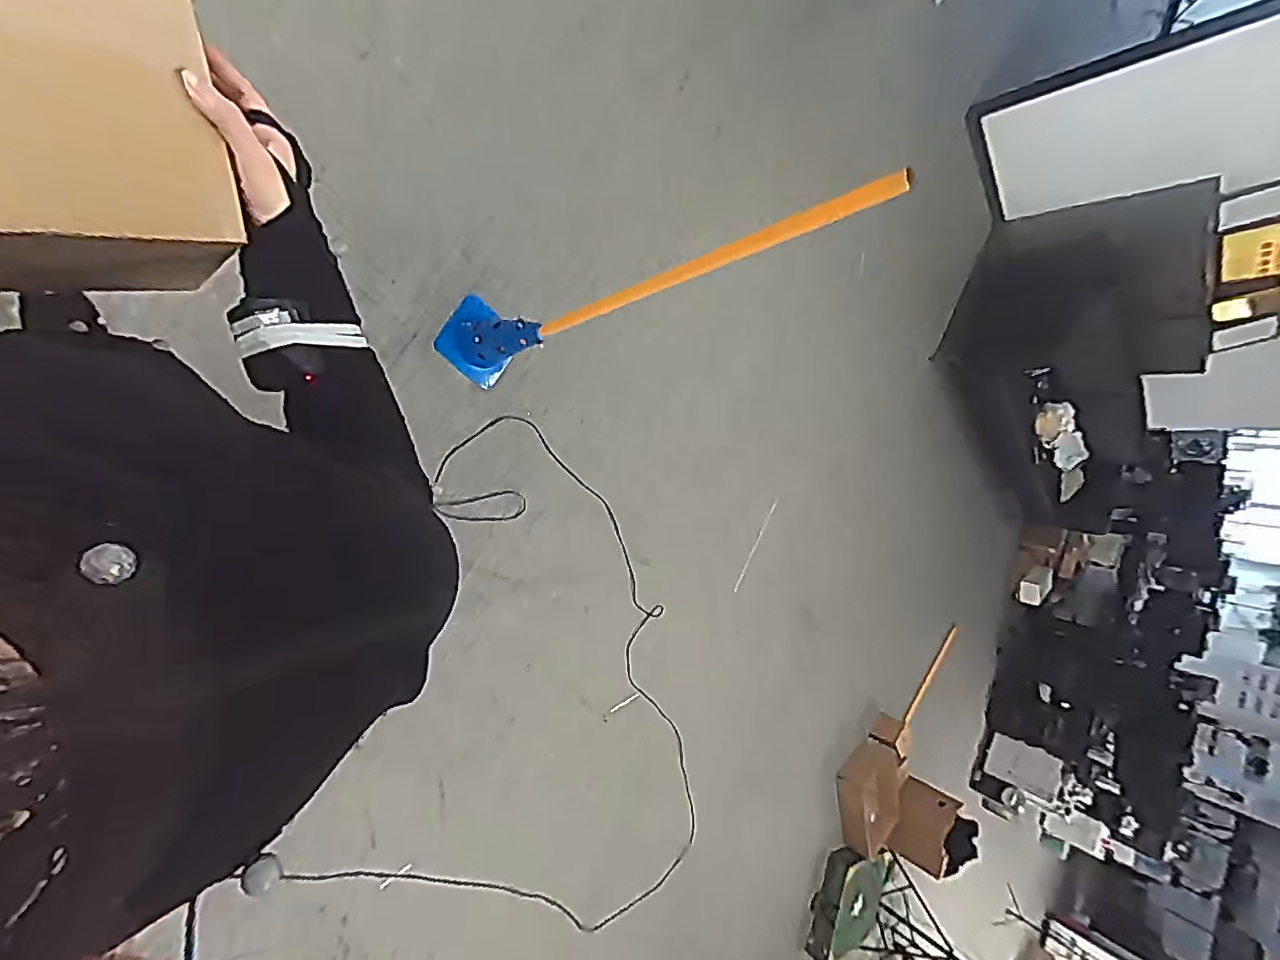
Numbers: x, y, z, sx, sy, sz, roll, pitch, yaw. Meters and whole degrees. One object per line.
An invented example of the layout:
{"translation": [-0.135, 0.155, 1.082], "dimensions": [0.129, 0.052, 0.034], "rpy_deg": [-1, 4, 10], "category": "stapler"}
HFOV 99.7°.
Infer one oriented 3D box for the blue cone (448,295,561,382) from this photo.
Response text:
{"translation": [-0.329, -0.384, 1.410], "dimensions": [0.192, 0.380, 0.193], "rpy_deg": [38, 71, -38], "category": "blue cone"}
